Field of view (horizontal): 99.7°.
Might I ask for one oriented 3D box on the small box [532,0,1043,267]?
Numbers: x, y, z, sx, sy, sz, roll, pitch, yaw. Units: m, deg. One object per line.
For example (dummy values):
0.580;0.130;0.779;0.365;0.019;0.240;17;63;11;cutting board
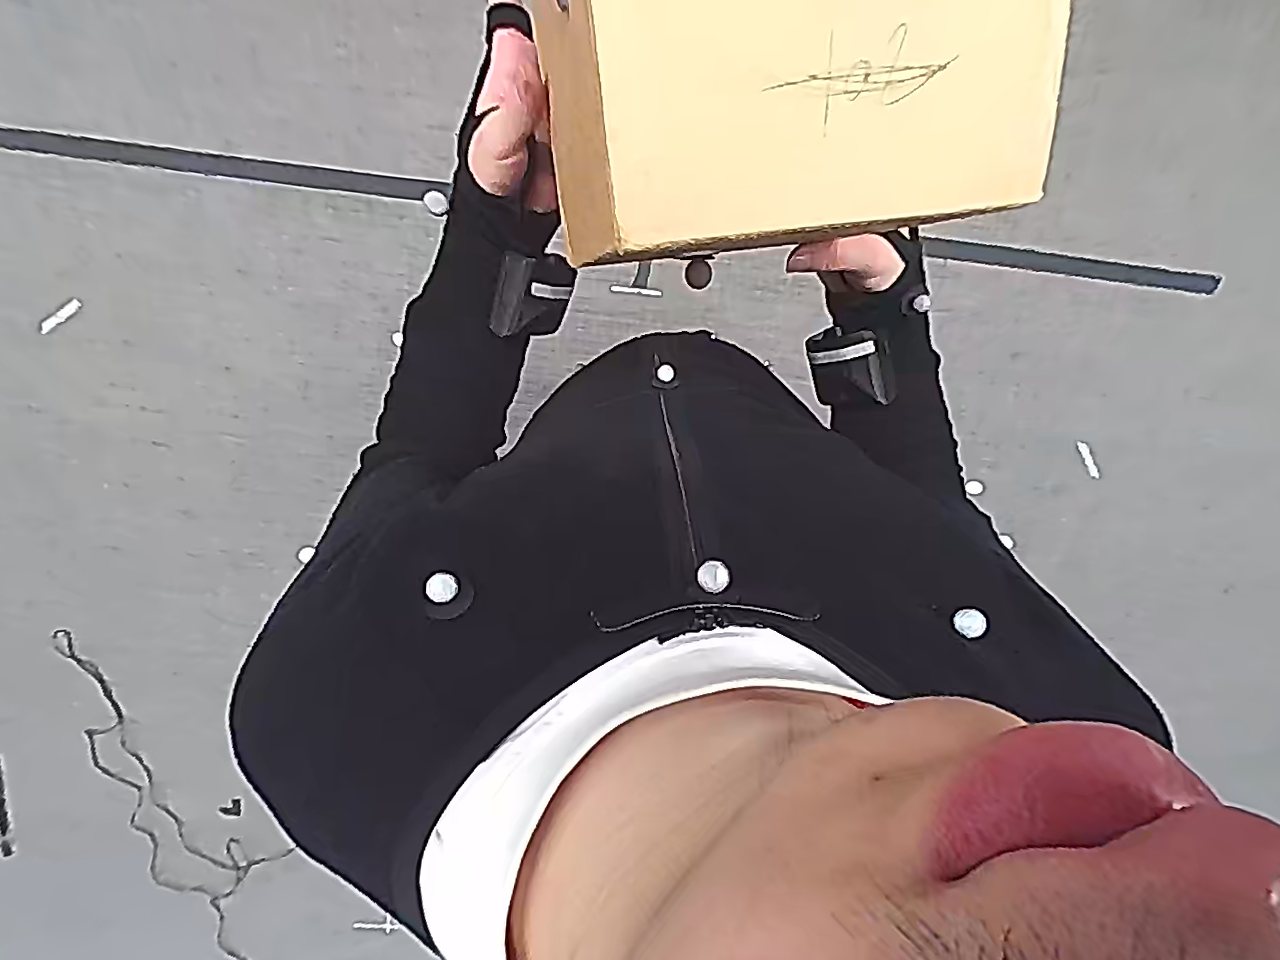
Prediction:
0.044;-0.201;0.247;0.168;0.176;0.179;-10;111;-10;small box
